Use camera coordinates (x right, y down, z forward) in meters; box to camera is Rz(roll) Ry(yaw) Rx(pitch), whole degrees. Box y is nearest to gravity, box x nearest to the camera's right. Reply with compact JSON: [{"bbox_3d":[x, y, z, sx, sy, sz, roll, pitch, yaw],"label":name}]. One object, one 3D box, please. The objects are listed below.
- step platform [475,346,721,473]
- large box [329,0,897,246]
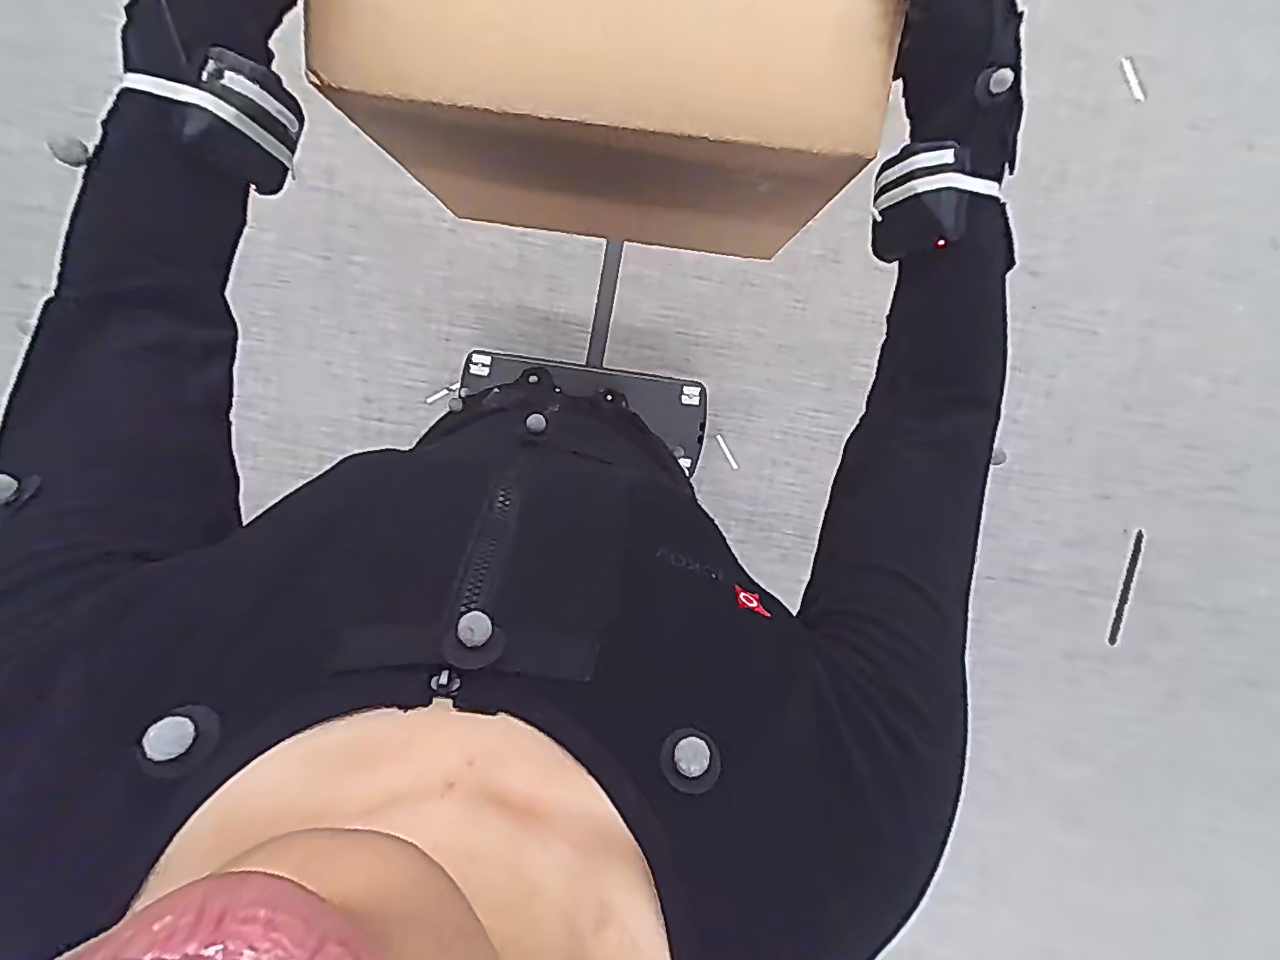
[{"bbox_3d":[-0.114,-0.198,1.543,0.684,0.204,0.286,7,98,-4],"label":"step platform"},{"bbox_3d":[-0.013,-0.438,0.512,0.408,0.320,0.320,6,101,-2],"label":"large box"}]
